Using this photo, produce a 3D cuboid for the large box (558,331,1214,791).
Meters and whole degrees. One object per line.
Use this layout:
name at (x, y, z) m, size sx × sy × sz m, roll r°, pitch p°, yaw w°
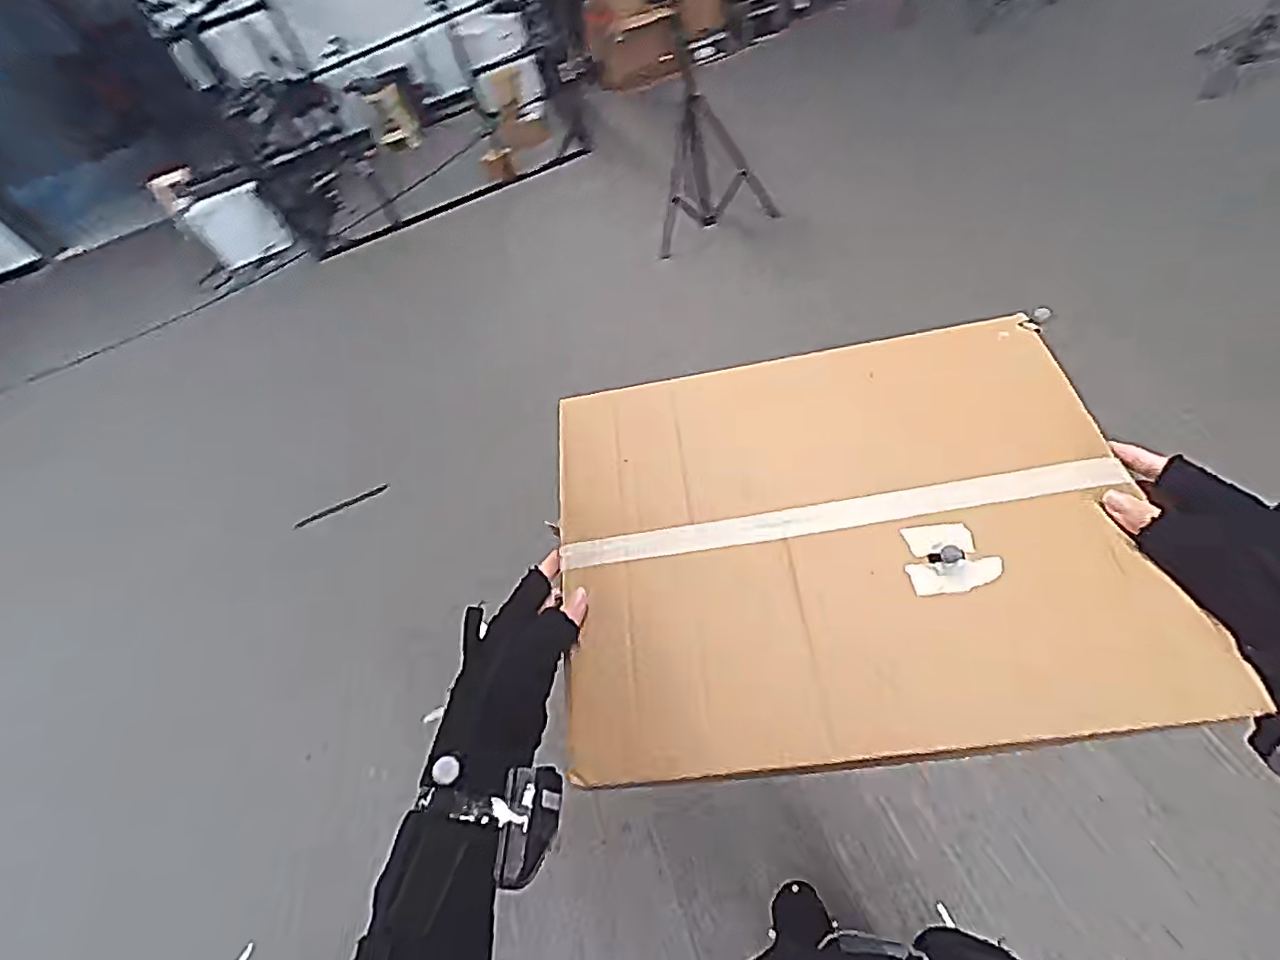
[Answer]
large box at (0.158, 0.108, 0.541) m, size 0.408 × 0.320 × 0.320 m, roll -10°, pitch 60°, yaw 5°
